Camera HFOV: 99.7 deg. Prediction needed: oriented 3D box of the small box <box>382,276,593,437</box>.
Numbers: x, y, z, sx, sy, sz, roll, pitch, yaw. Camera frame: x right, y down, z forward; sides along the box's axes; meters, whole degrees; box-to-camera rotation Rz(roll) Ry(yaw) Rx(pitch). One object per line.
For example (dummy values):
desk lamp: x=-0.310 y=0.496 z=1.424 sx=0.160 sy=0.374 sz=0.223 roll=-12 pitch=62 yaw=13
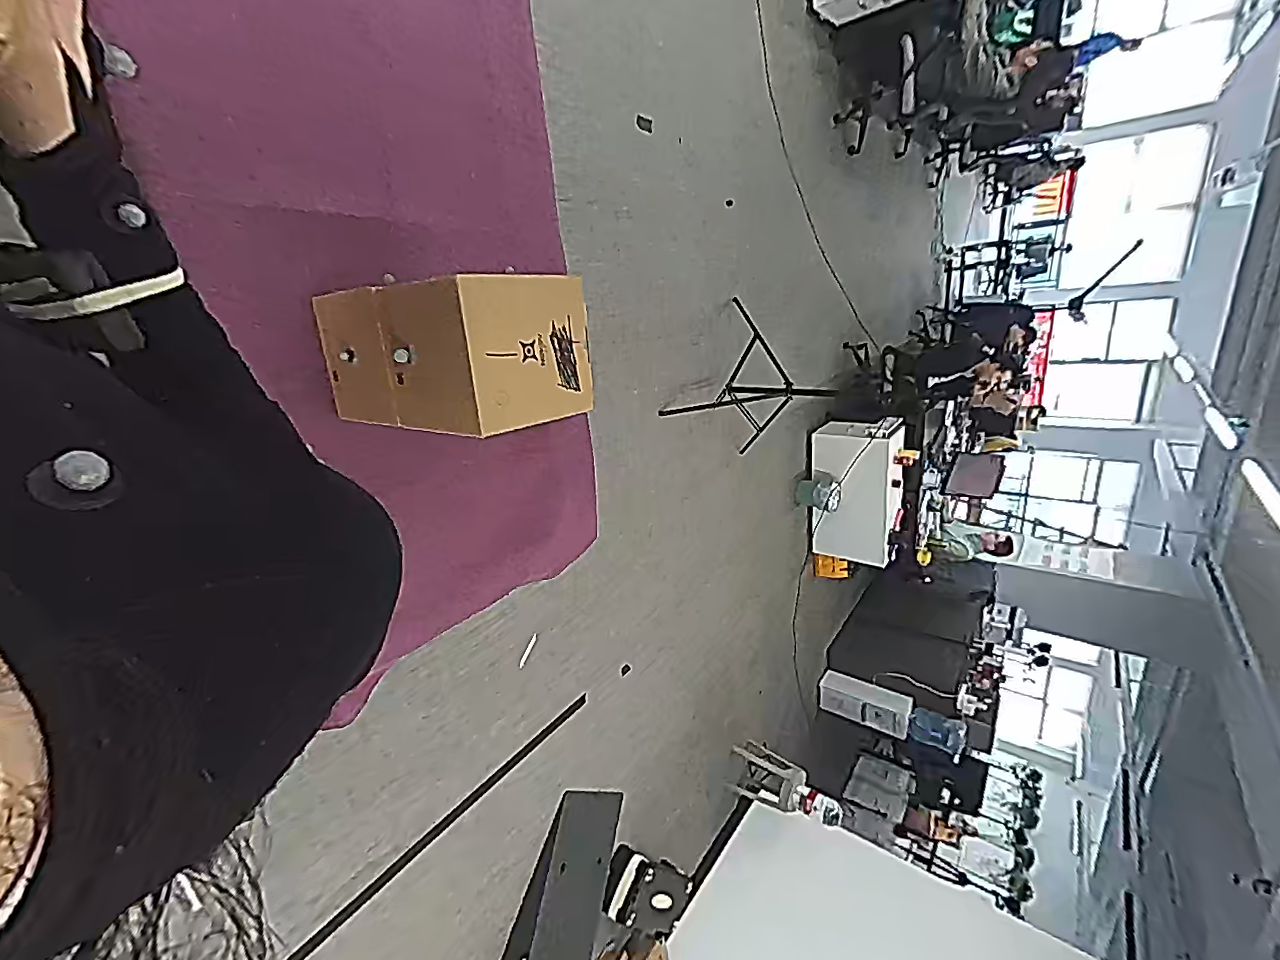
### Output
small box: x=-0.182 y=-0.155 z=0.665 sx=0.179 sy=0.176 sz=0.168 roll=-23 pitch=115 yaw=-48

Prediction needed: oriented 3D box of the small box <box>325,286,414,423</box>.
small box: x=-0.314 y=-0.177 z=0.760 sx=0.179 sy=0.176 sz=0.168 roll=-24 pitch=116 yaw=-49
